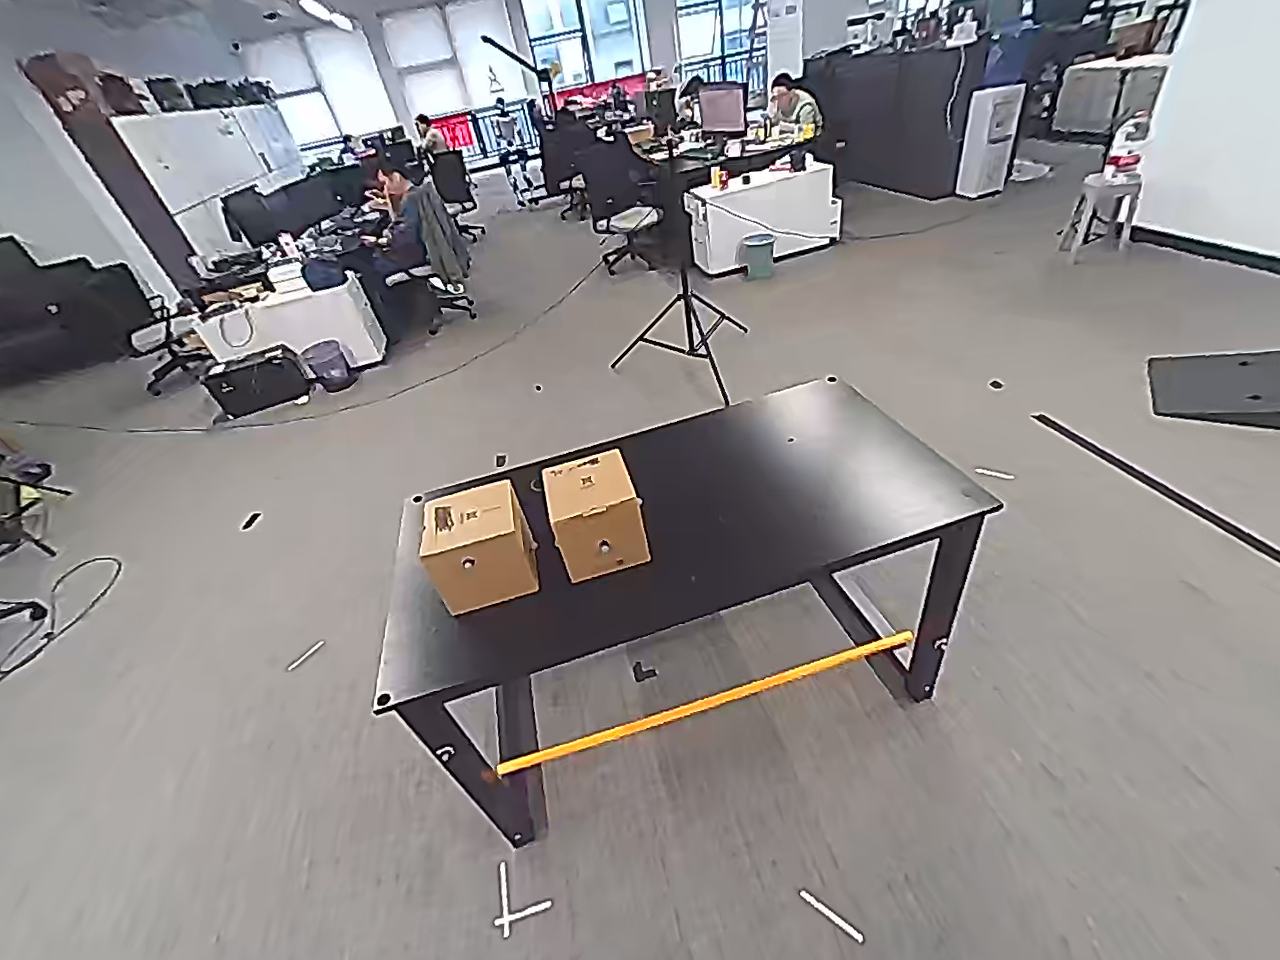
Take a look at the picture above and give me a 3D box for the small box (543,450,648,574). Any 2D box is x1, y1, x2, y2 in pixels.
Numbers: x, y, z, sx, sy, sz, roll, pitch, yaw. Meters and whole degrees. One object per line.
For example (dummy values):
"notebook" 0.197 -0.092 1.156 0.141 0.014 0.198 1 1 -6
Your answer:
"small box" -0.088 0.070 1.097 0.168 0.176 0.179 -16 39 -4

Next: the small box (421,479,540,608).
"small box" -0.313 0.130 1.080 0.179 0.176 0.168 -15 38 -6
